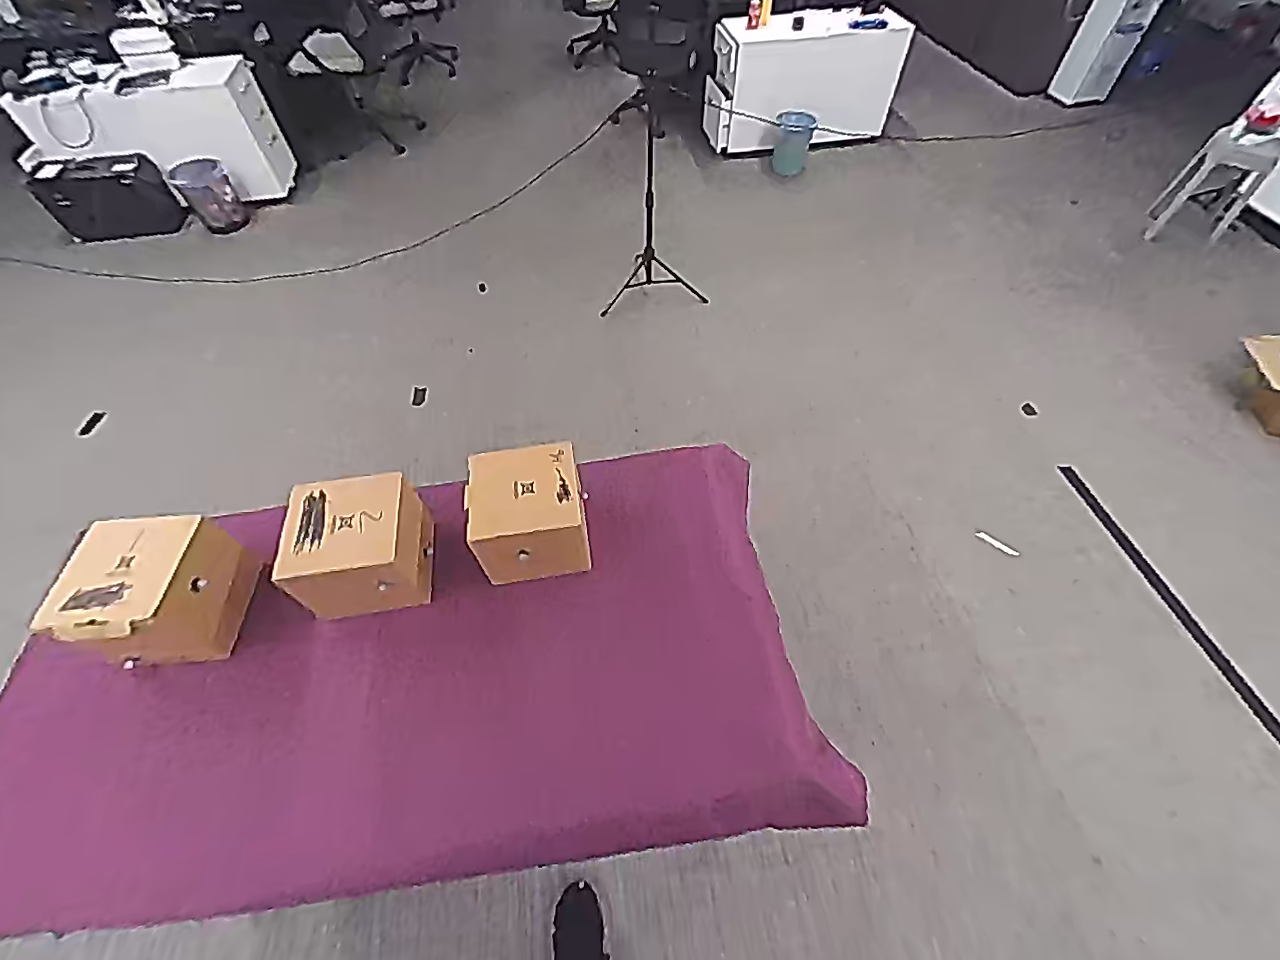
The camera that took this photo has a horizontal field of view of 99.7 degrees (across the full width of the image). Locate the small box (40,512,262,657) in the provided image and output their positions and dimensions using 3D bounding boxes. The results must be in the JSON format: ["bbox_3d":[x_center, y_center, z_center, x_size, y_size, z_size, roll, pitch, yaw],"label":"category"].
[{"bbox_3d":[-0.744,0.171,0.852,0.168,0.176,0.179,-3,55,-2],"label":"small box"}]
